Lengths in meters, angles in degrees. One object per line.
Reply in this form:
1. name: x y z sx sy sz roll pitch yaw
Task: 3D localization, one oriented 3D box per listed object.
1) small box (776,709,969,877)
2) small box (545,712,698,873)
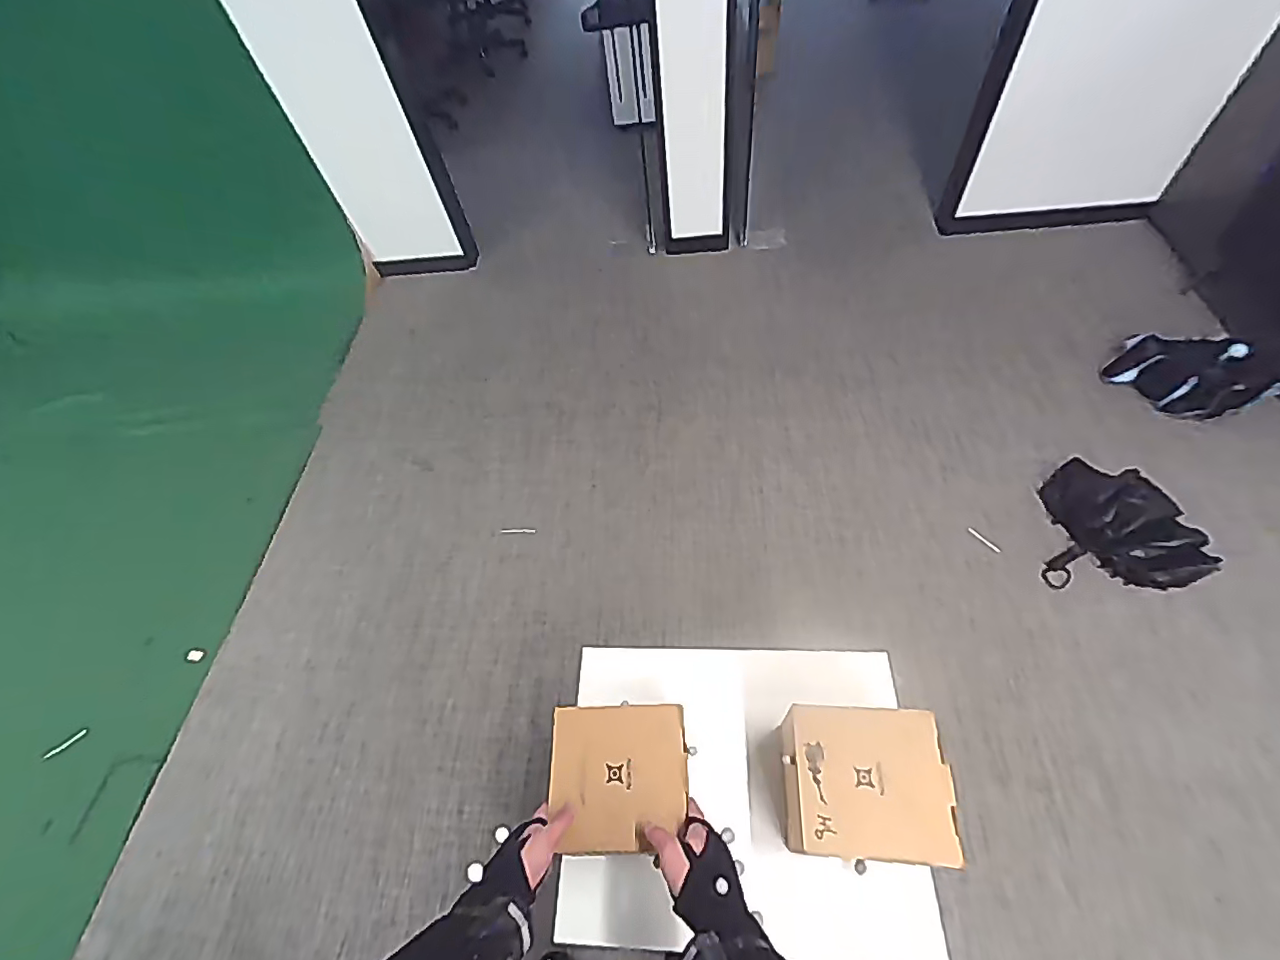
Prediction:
1. small box: 0.285 0.409 0.708 0.179 0.176 0.168 1 55 5
2. small box: -0.021 0.419 0.722 0.179 0.176 0.168 -4 52 1
